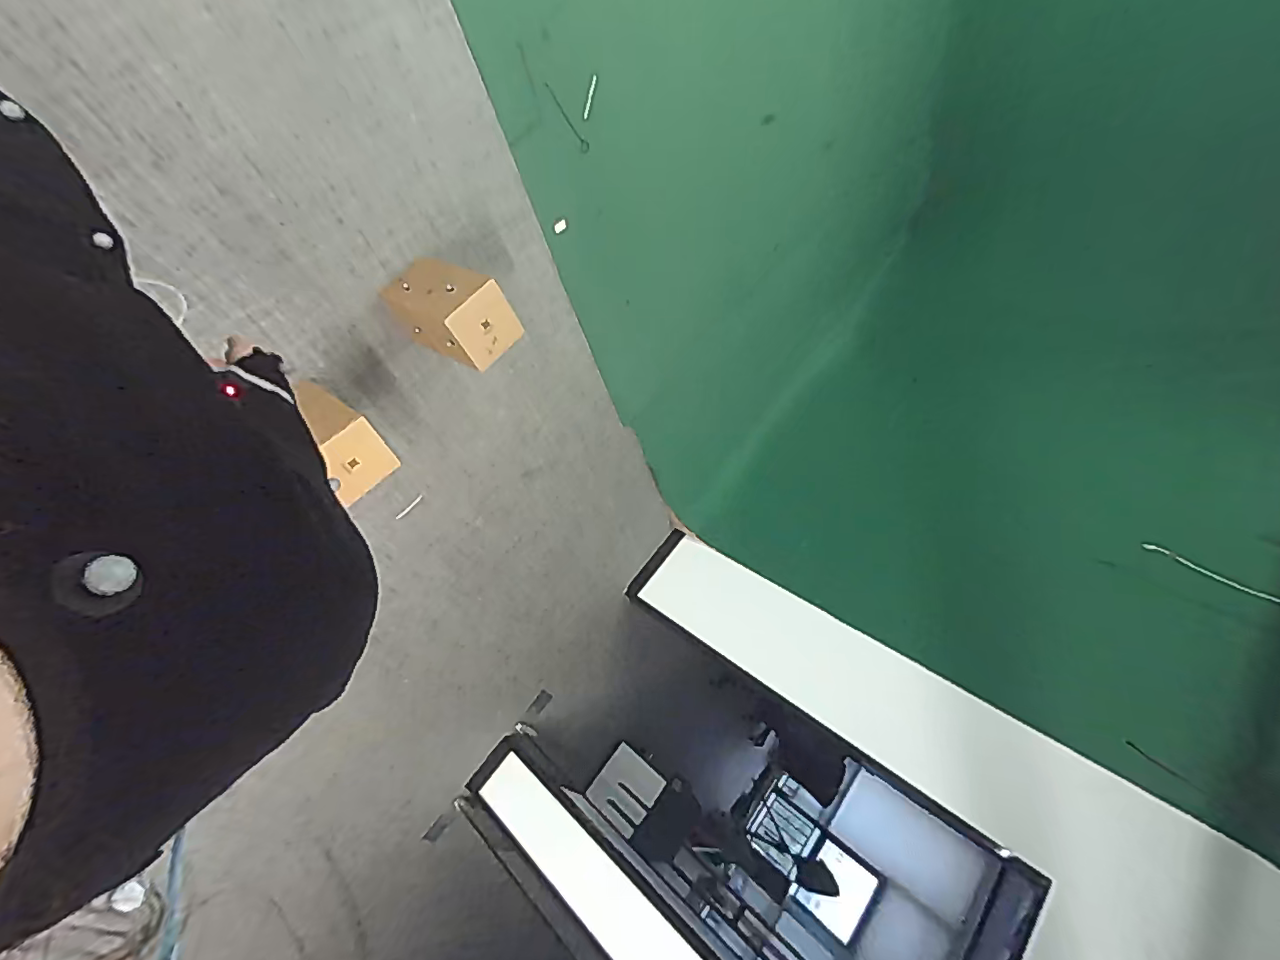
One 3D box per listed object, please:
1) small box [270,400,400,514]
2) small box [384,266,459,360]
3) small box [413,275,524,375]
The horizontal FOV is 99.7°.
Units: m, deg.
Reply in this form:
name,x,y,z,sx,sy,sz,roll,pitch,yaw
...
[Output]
name,x,y,z,sx,sy,sz,roll,pitch,yaw
small box,-0.714,-0.060,1.267,0.179,0.176,0.168,-45,143,-23
small box,-0.560,-0.464,1.479,0.168,0.176,0.179,-48,144,-18
small box,-0.440,-0.402,1.384,0.168,0.176,0.179,-48,143,-17
